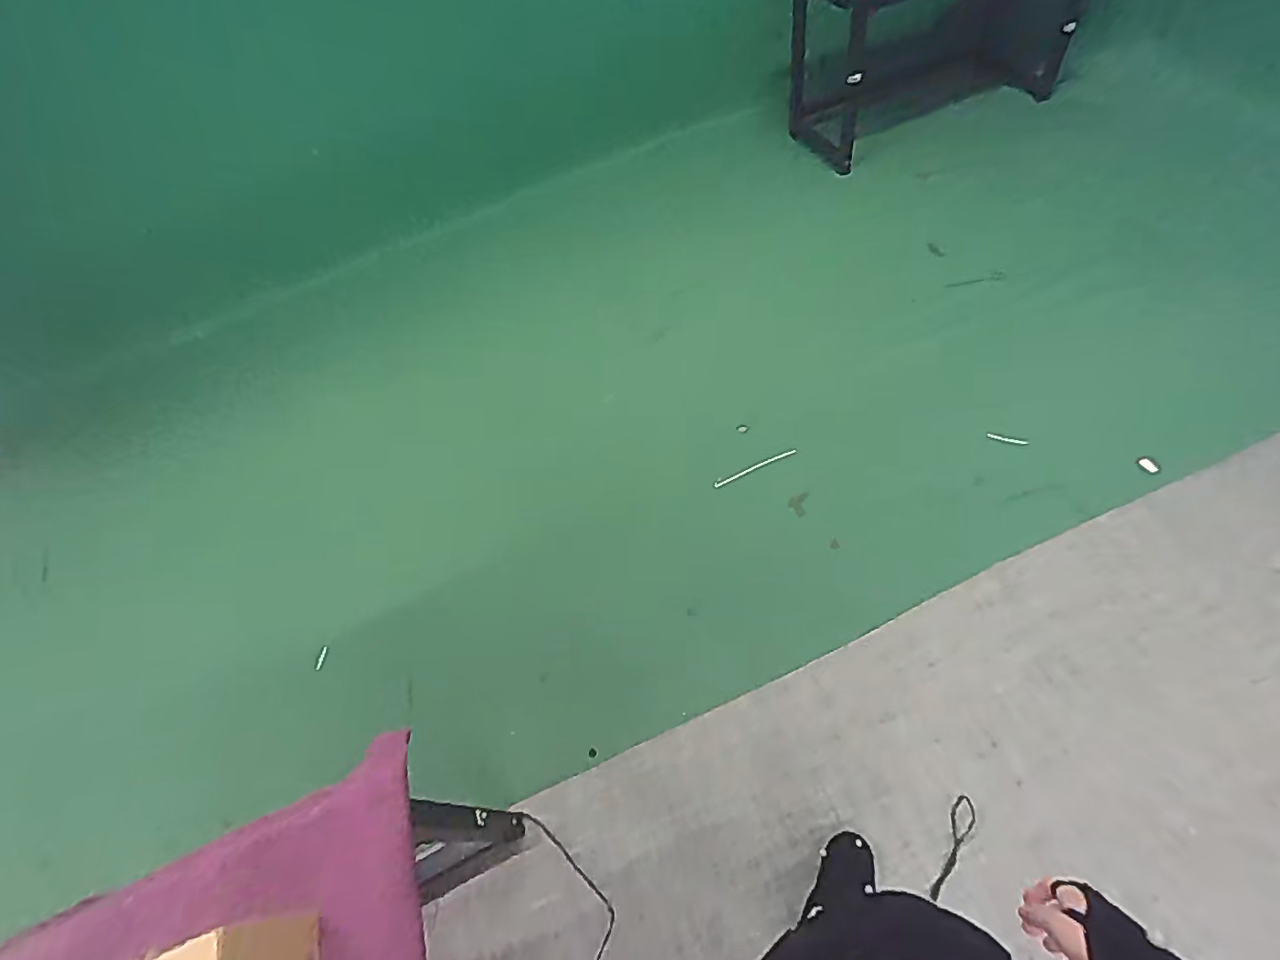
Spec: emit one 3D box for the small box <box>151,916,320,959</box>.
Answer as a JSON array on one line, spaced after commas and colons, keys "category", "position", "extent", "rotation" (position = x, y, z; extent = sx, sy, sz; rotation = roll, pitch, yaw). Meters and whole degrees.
[{"category": "small box", "position": [-0.524, 0.664, 0.651], "extent": [0.179, 0.176, 0.168], "rotation": [-24, 55, -2]}]
